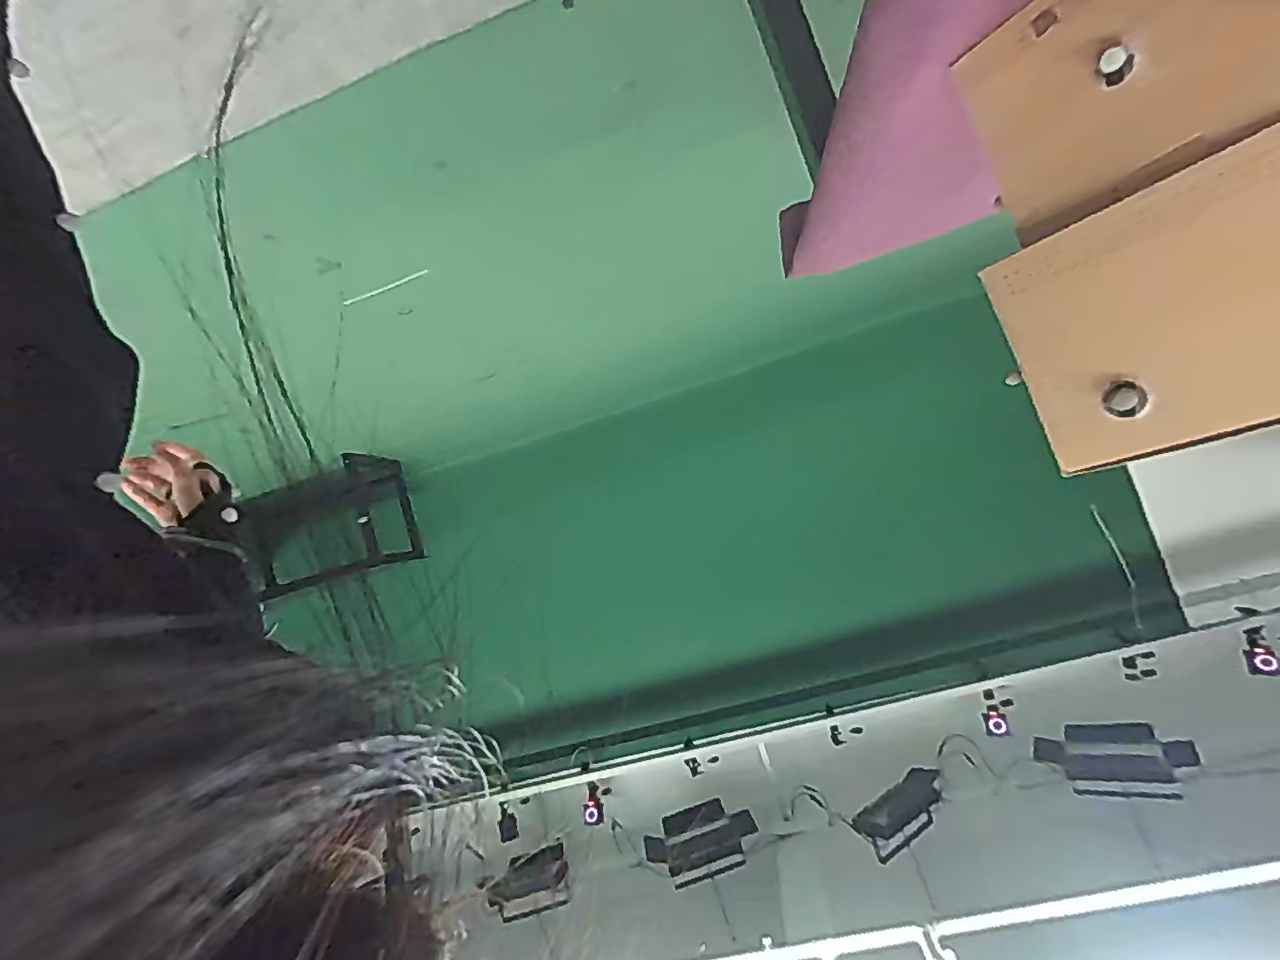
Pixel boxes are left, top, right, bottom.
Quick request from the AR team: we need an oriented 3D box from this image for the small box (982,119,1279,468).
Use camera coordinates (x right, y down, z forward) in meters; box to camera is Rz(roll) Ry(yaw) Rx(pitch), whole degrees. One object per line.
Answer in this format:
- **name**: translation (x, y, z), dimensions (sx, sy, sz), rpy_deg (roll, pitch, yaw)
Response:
- **small box**: translation (0.388, -0.120, 0.414), dimensions (0.179, 0.176, 0.168), rpy_deg (-23, 172, 38)

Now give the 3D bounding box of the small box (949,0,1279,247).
- **small box**: translation (0.376, -0.289, 0.426), dimensions (0.179, 0.176, 0.168), rpy_deg (-12, 172, -44)
